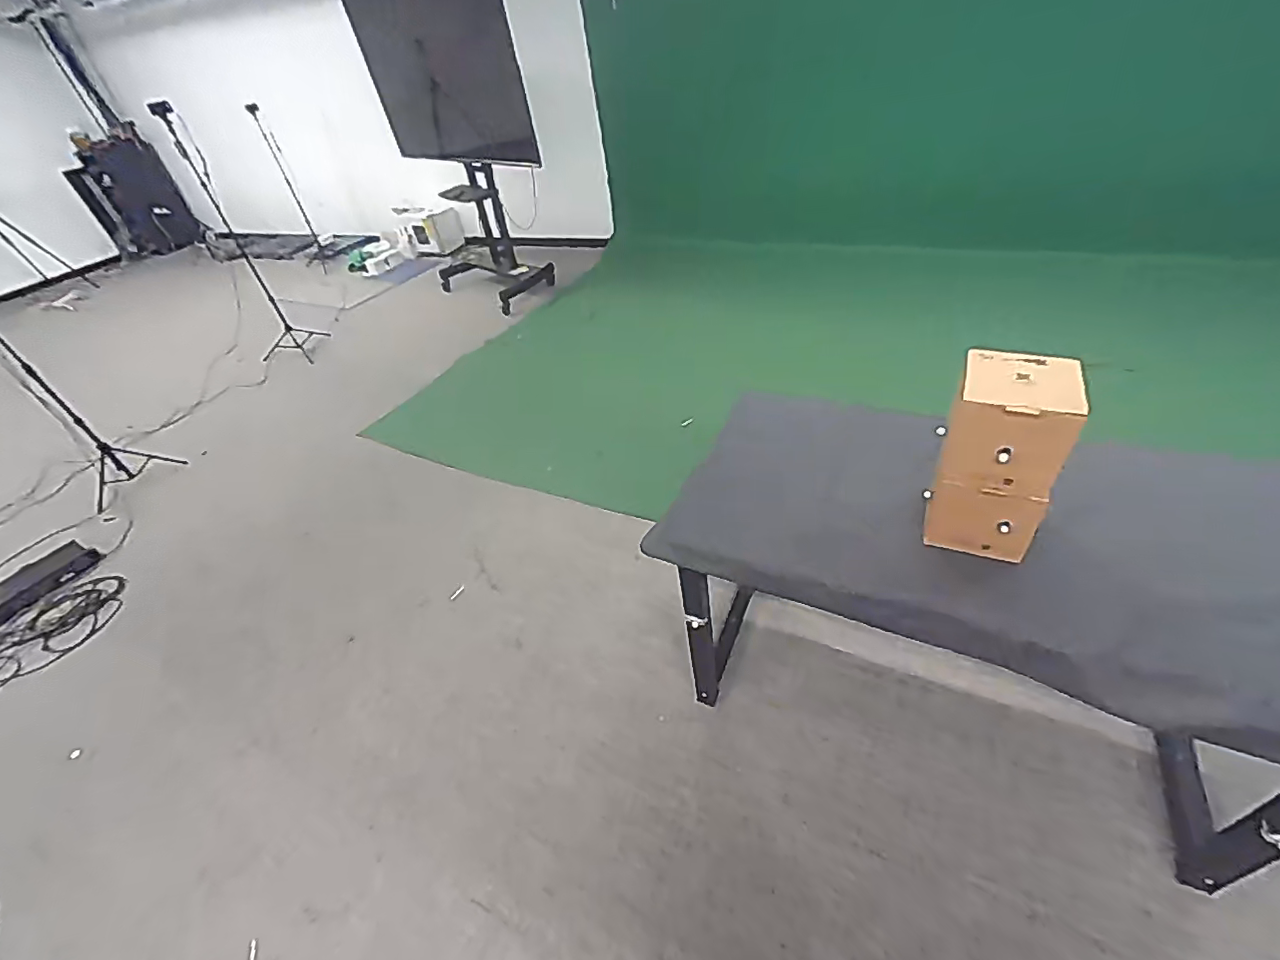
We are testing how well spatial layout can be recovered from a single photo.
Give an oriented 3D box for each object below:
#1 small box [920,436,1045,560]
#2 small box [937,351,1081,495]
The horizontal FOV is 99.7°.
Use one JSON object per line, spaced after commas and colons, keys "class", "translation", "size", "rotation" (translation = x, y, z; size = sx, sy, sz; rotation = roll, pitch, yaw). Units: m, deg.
{"class": "small box", "translation": [0.652, 0.027, 1.043], "size": [0.168, 0.176, 0.179], "rotation": [13, 44, 22]}
{"class": "small box", "translation": [0.632, -0.099, 0.940], "size": [0.168, 0.176, 0.179], "rotation": [14, 47, 23]}
